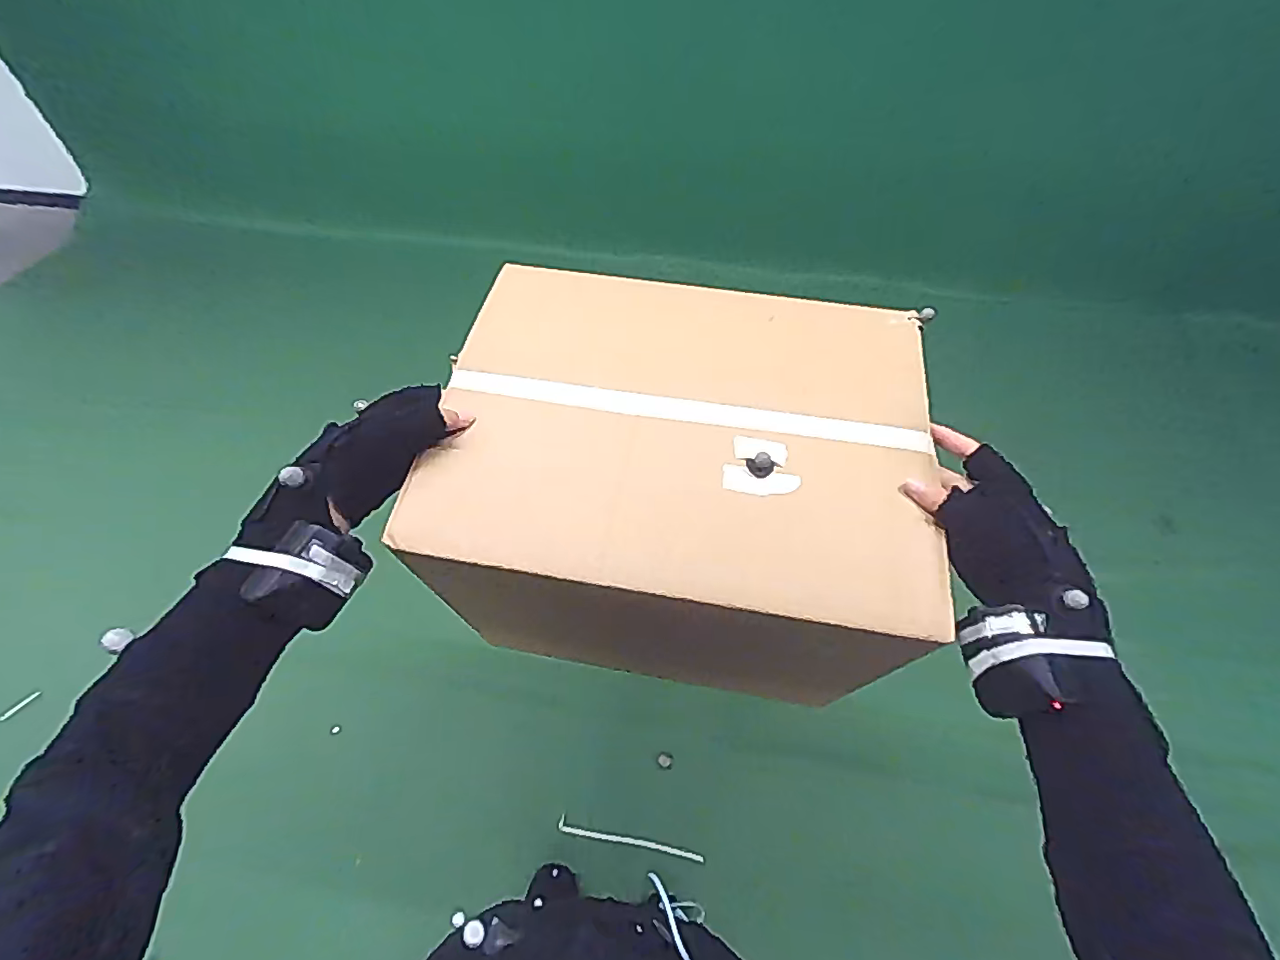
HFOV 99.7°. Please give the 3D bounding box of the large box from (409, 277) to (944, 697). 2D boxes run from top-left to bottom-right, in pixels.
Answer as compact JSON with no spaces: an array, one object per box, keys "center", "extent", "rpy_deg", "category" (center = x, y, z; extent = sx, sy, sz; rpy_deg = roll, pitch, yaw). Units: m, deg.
[{"center":[0.039,0.023,0.594],"extent":[0.408,0.320,0.320],"rpy_deg":[9,60,4],"category":"large box"}]
